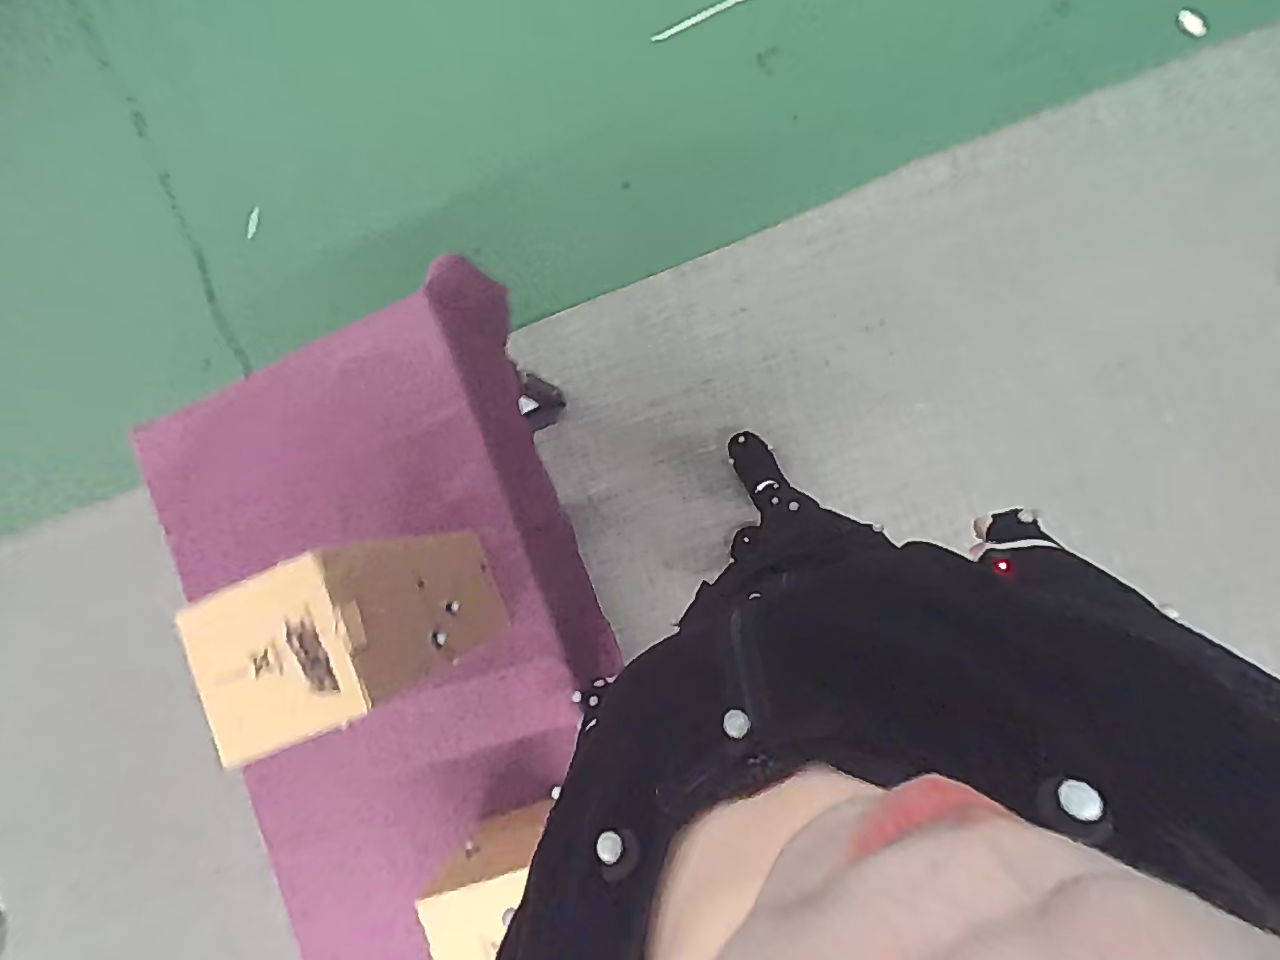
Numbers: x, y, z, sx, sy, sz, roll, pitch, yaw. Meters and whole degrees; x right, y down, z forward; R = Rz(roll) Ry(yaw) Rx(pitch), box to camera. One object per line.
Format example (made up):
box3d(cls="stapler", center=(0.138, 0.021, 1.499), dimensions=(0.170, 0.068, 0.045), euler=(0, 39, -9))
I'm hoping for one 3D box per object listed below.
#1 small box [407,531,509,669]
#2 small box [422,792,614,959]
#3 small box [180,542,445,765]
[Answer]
box3d(cls="small box", center=(-0.320, 0.183, 0.775), dimensions=(0.179, 0.176, 0.168), euler=(-23, 86, 9))
box3d(cls="small box", center=(-0.155, 0.568, 0.740), dimensions=(0.179, 0.176, 0.168), euler=(-22, 86, 8))
box3d(cls="small box", center=(-0.349, 0.179, 0.613), dimensions=(0.179, 0.176, 0.168), euler=(-24, 85, 9))
